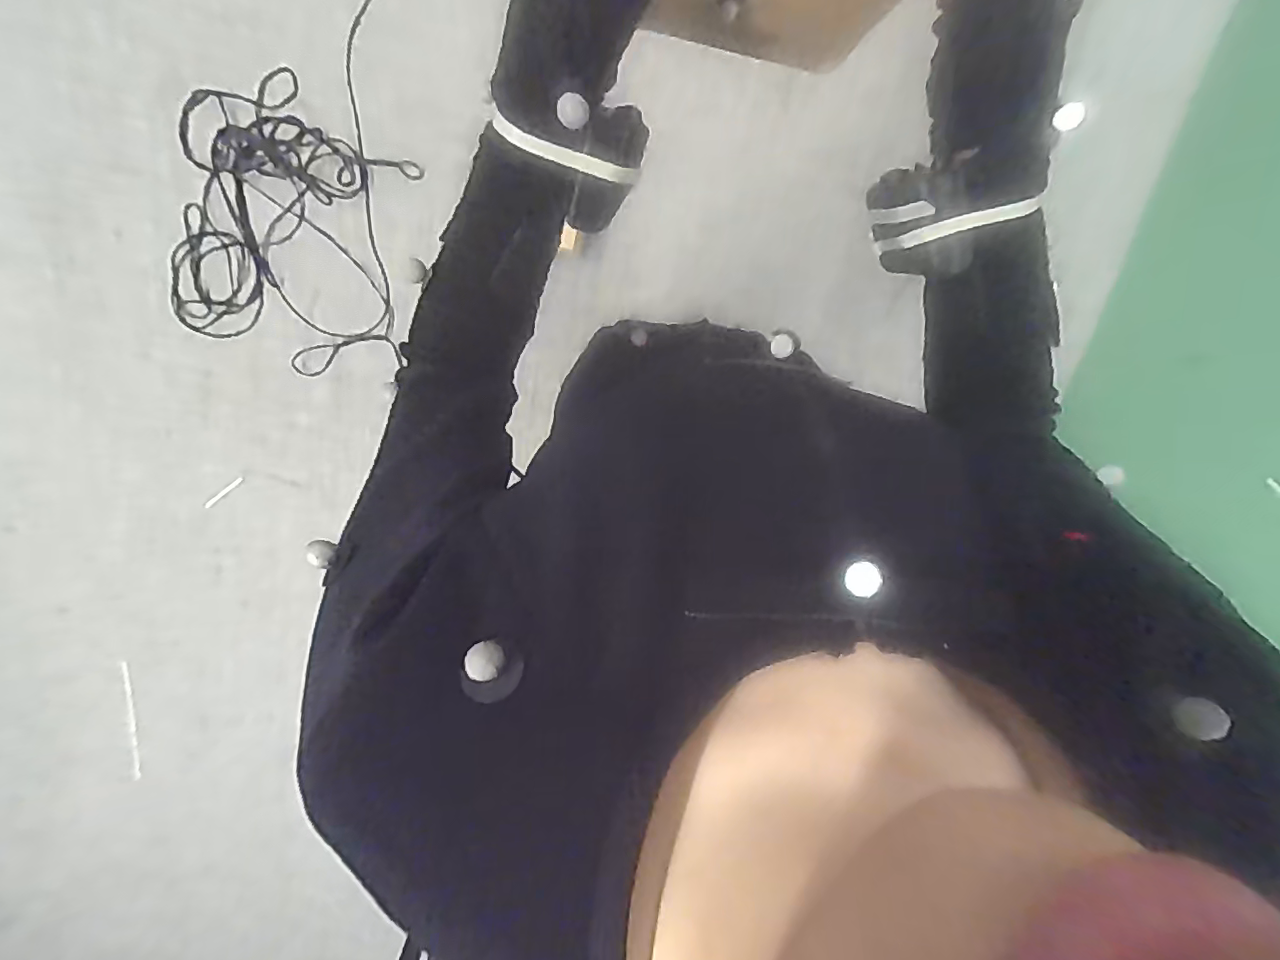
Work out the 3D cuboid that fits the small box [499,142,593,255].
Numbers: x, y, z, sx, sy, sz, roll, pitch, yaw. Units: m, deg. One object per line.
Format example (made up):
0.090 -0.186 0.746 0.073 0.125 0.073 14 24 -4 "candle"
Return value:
-0.207 -0.627 1.230 0.168 0.176 0.179 13 105 -5 "small box"
